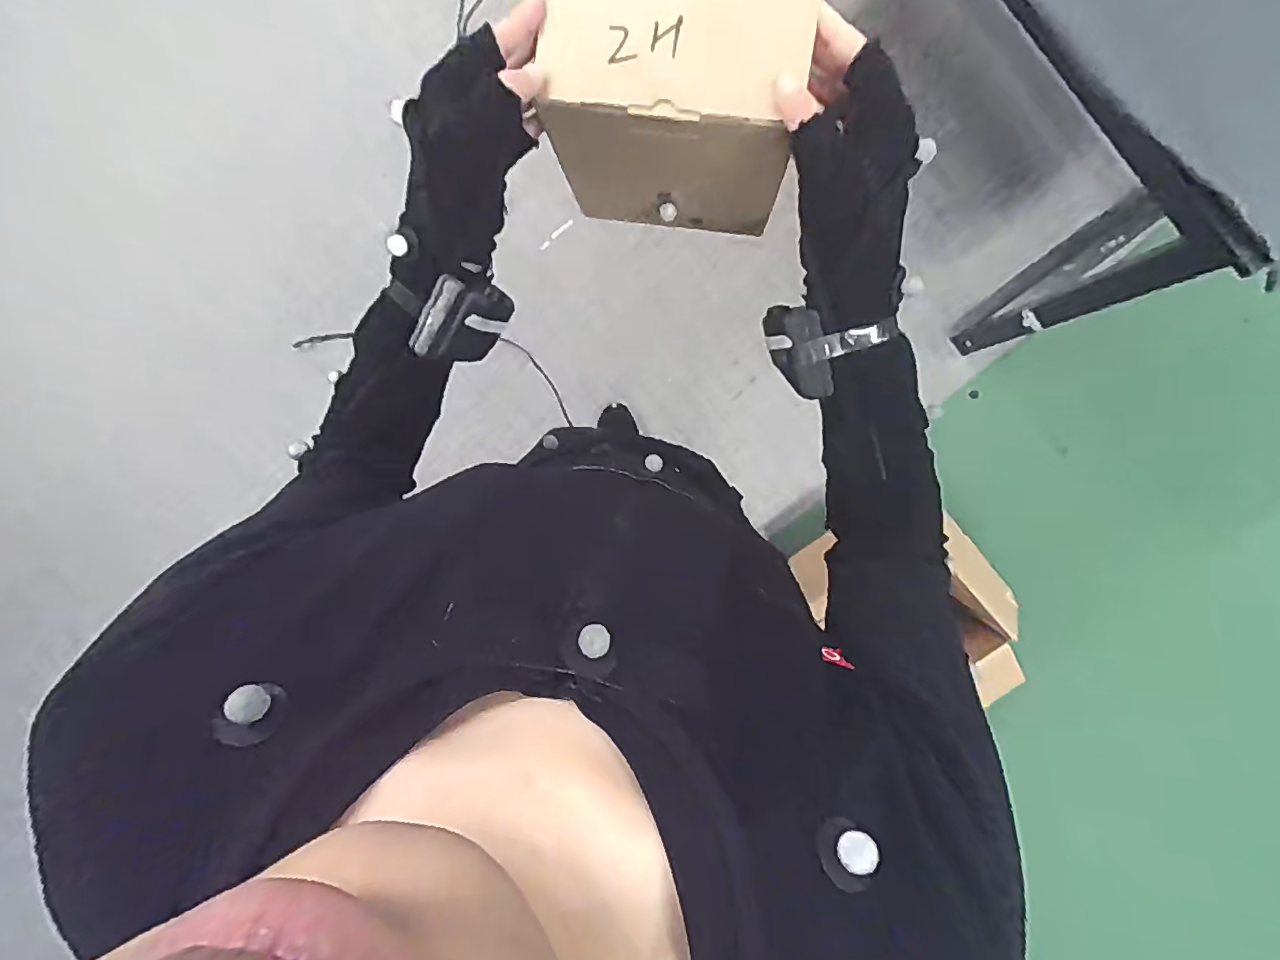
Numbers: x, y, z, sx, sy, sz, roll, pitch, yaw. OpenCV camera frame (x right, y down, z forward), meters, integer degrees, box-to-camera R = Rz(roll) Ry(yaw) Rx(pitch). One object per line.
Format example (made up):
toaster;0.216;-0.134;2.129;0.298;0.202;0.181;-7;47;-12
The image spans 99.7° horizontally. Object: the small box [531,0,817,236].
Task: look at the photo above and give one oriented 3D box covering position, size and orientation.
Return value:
small box;0.031;-0.311;0.403;0.168;0.176;0.179;9;93;4
